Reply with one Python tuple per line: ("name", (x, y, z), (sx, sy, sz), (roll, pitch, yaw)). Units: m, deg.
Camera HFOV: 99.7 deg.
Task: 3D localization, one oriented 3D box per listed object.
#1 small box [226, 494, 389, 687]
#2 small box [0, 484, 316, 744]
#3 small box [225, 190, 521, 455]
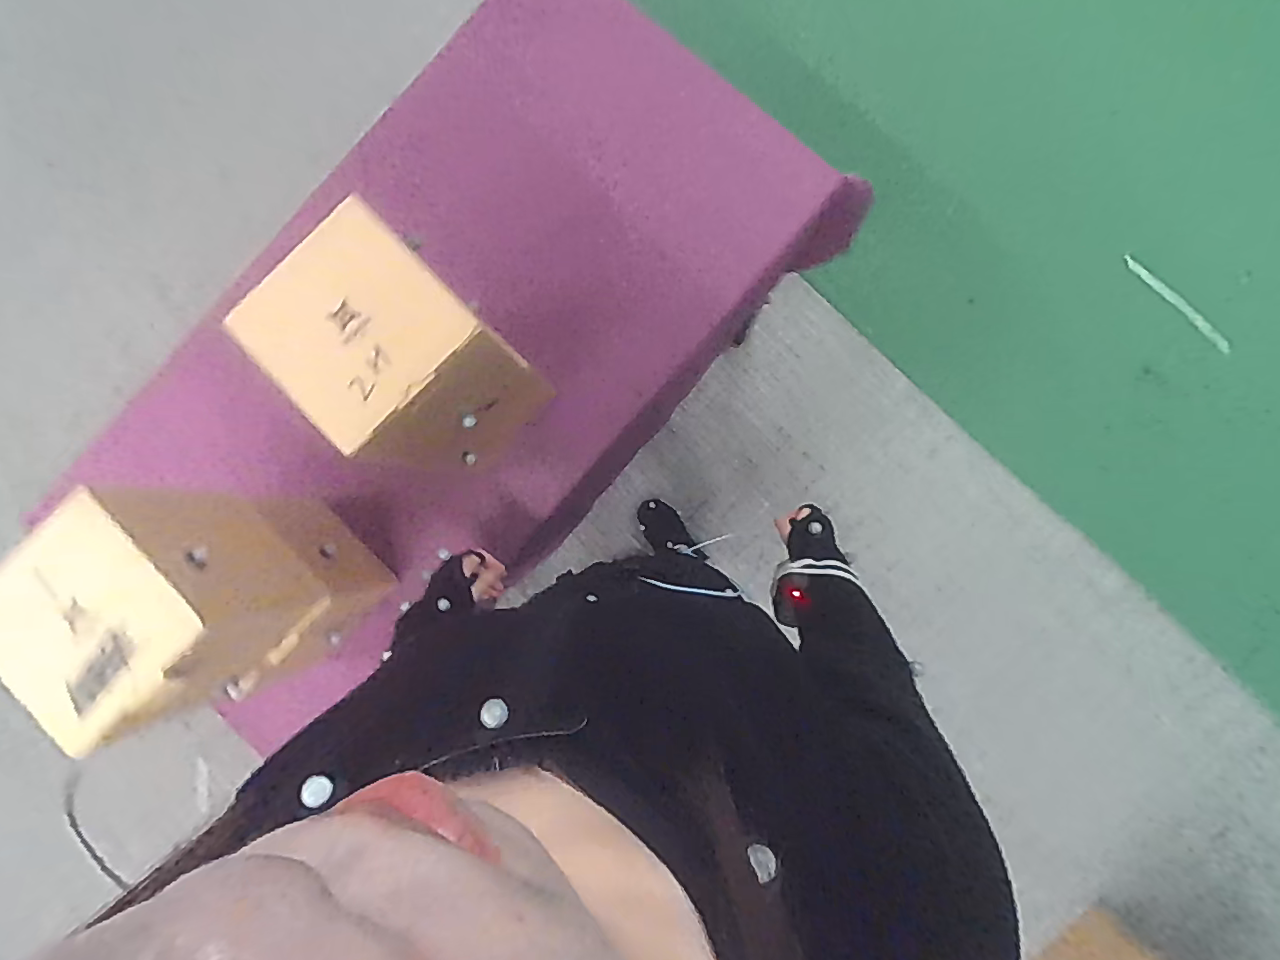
("small box", (-0.478, 0.132, 0.721), (0.179, 0.176, 0.168), (44, 89, 2))
("small box", (-0.488, 0.119, 0.557), (0.179, 0.176, 0.168), (45, 90, 4))
("small box", (-0.253, -0.140, 0.557), (0.168, 0.176, 0.179), (-44, 87, 1))
